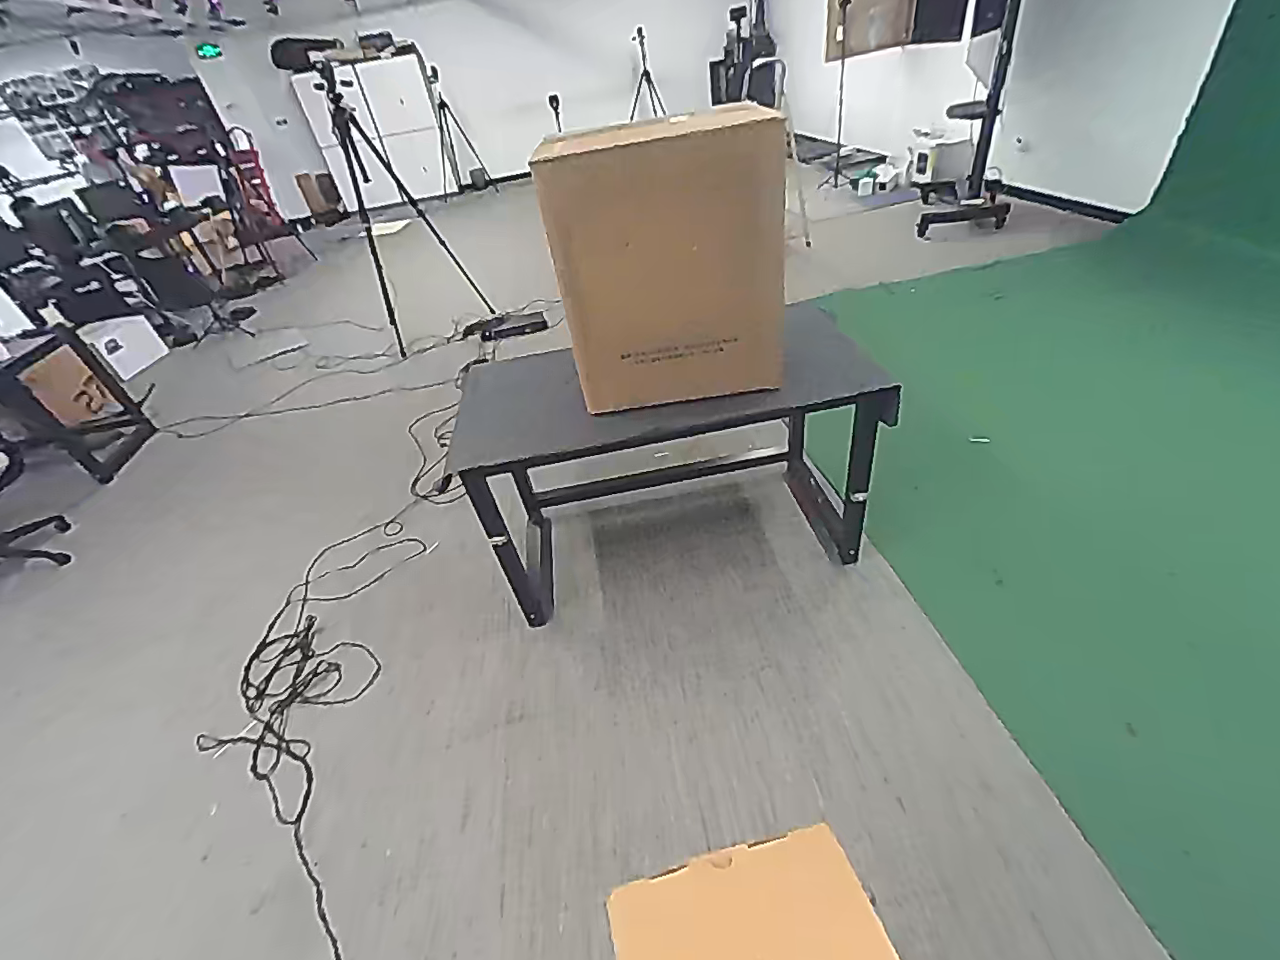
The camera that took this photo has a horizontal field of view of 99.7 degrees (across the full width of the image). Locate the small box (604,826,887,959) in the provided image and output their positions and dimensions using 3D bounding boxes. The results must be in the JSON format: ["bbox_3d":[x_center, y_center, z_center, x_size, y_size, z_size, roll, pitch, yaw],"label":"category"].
[{"bbox_3d":[0.081,0.376,0.346,0.168,0.176,0.179,-12,25,-7],"label":"small box"}]
